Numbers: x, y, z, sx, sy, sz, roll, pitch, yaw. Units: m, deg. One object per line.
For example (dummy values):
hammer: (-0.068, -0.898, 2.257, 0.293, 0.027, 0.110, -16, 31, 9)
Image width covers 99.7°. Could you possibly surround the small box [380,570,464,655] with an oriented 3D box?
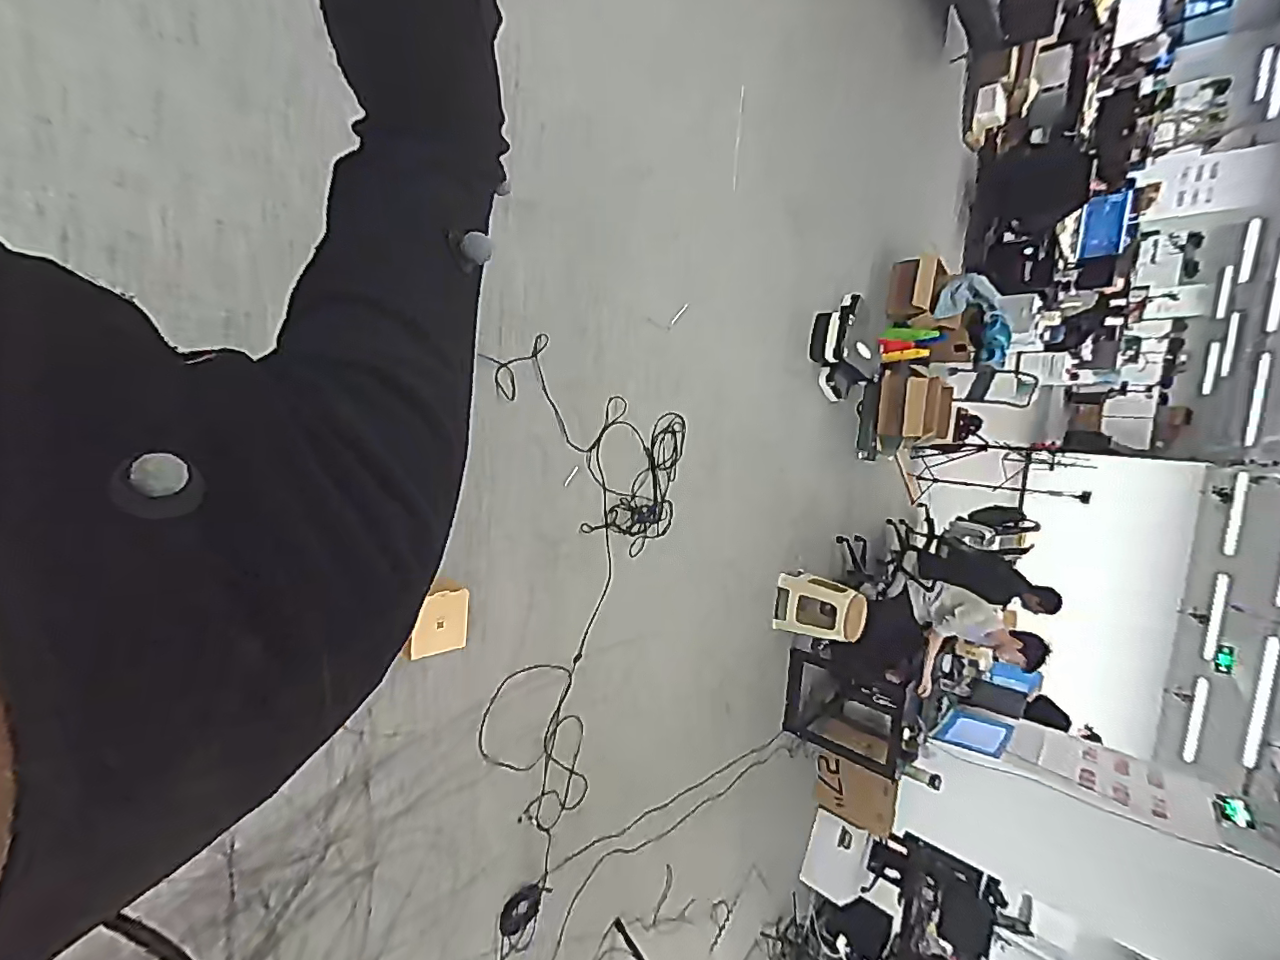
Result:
small box: (-0.621, 0.370, 1.534, 0.168, 0.176, 0.179, -1, 98, -49)
